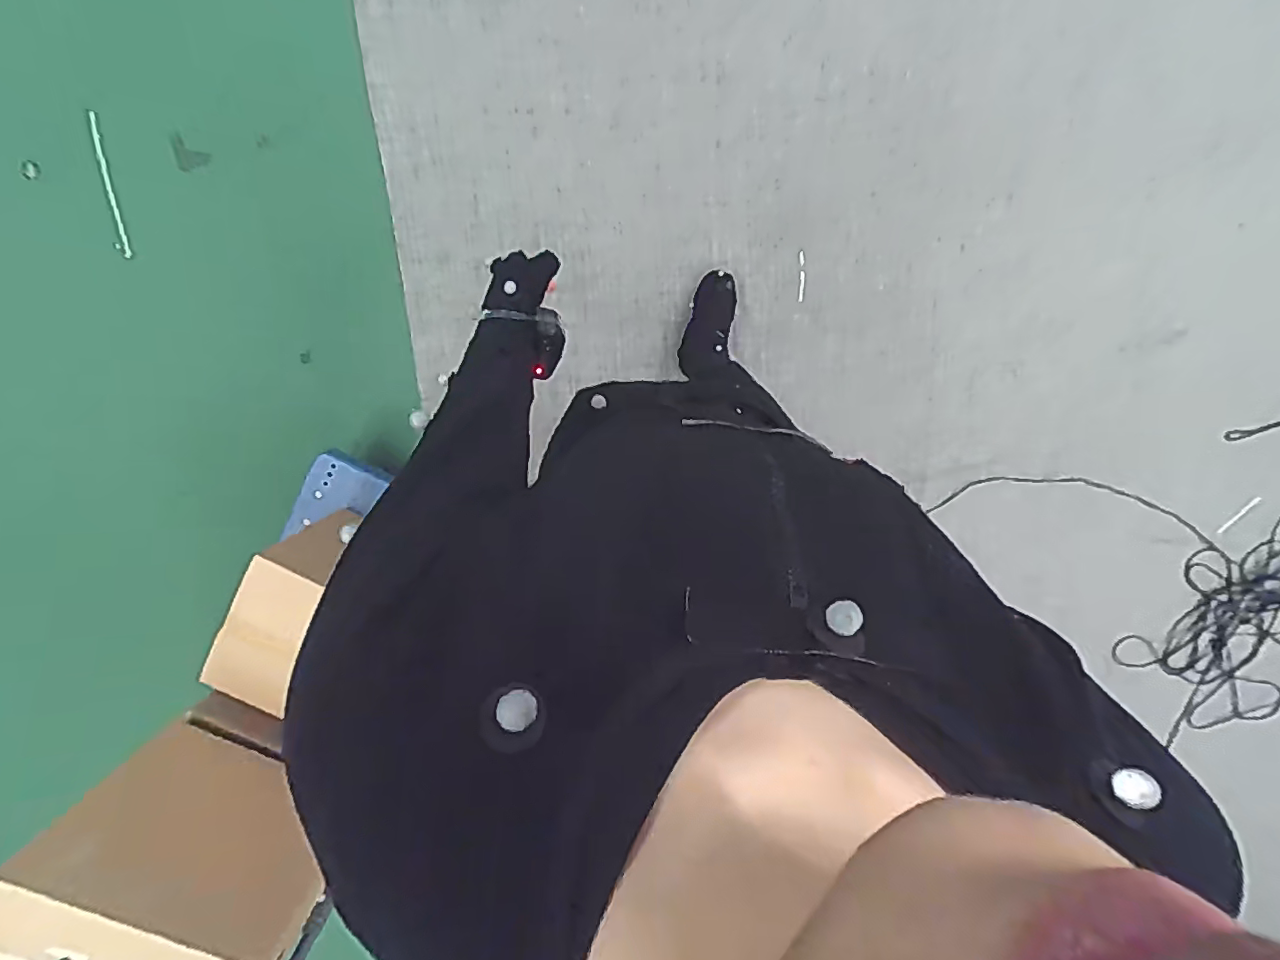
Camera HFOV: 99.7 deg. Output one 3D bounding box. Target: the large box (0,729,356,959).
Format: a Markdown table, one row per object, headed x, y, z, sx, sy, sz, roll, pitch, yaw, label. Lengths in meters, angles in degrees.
| x | y | z | sx | sy | sz | roll | pitch | yaw | label |
| --- | --- | --- | --- | --- | --- | --- | --- | --- | --- |
| -0.803 | 0.725 | 0.949 | 0.408 | 0.320 | 0.320 | 27 | 106 | -5 | large box |
